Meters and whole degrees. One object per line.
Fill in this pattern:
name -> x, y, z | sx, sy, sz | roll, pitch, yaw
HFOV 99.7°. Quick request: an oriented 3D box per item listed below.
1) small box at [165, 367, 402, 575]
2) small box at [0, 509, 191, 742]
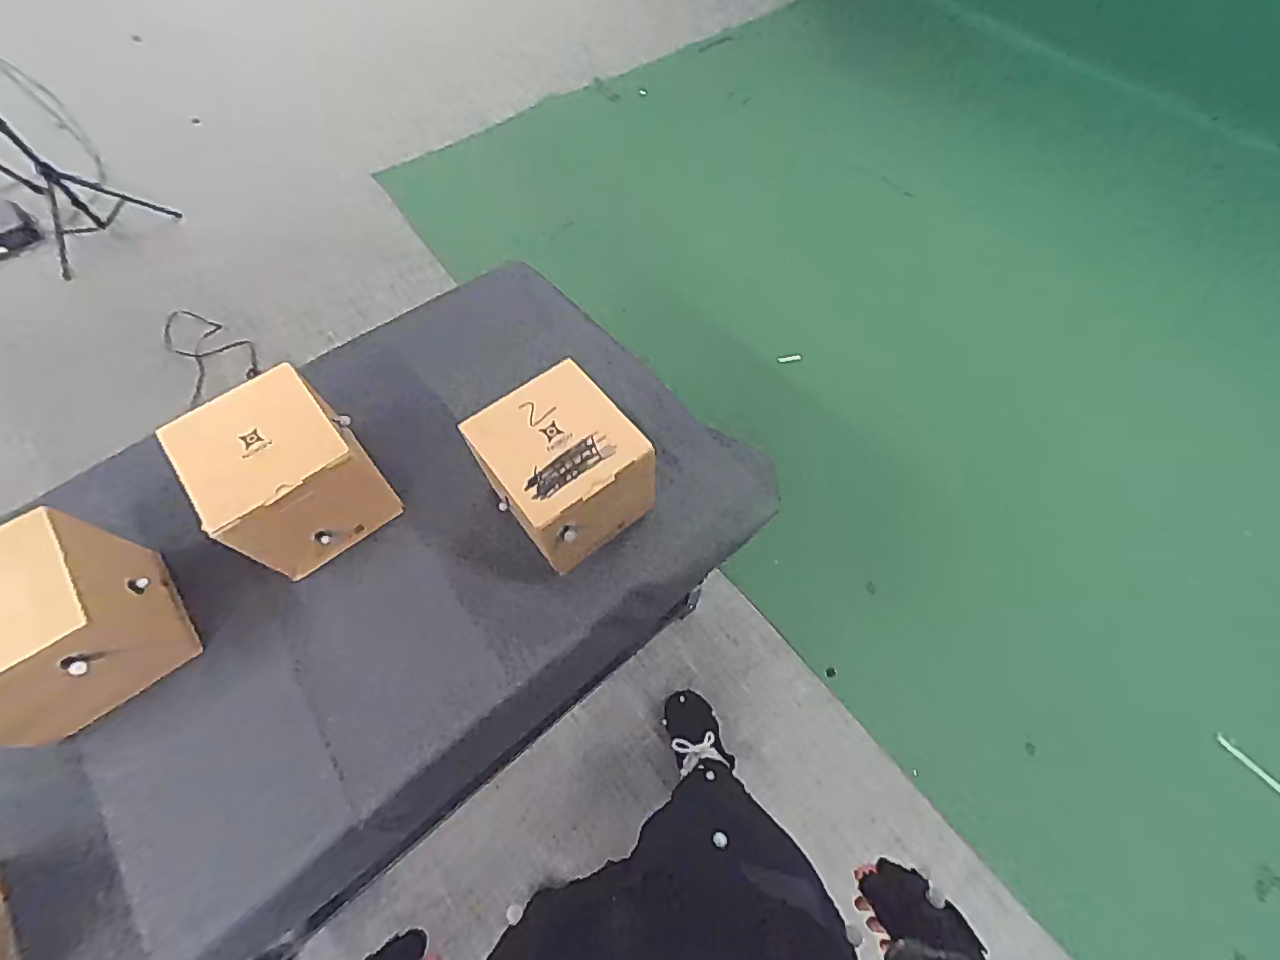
small box -> -0.448, -0.005, 0.705 | 0.168, 0.176, 0.179 | -36, 70, -18
small box -> -0.659, 0.168, 0.608 | 0.179, 0.176, 0.168 | -35, 69, -17
